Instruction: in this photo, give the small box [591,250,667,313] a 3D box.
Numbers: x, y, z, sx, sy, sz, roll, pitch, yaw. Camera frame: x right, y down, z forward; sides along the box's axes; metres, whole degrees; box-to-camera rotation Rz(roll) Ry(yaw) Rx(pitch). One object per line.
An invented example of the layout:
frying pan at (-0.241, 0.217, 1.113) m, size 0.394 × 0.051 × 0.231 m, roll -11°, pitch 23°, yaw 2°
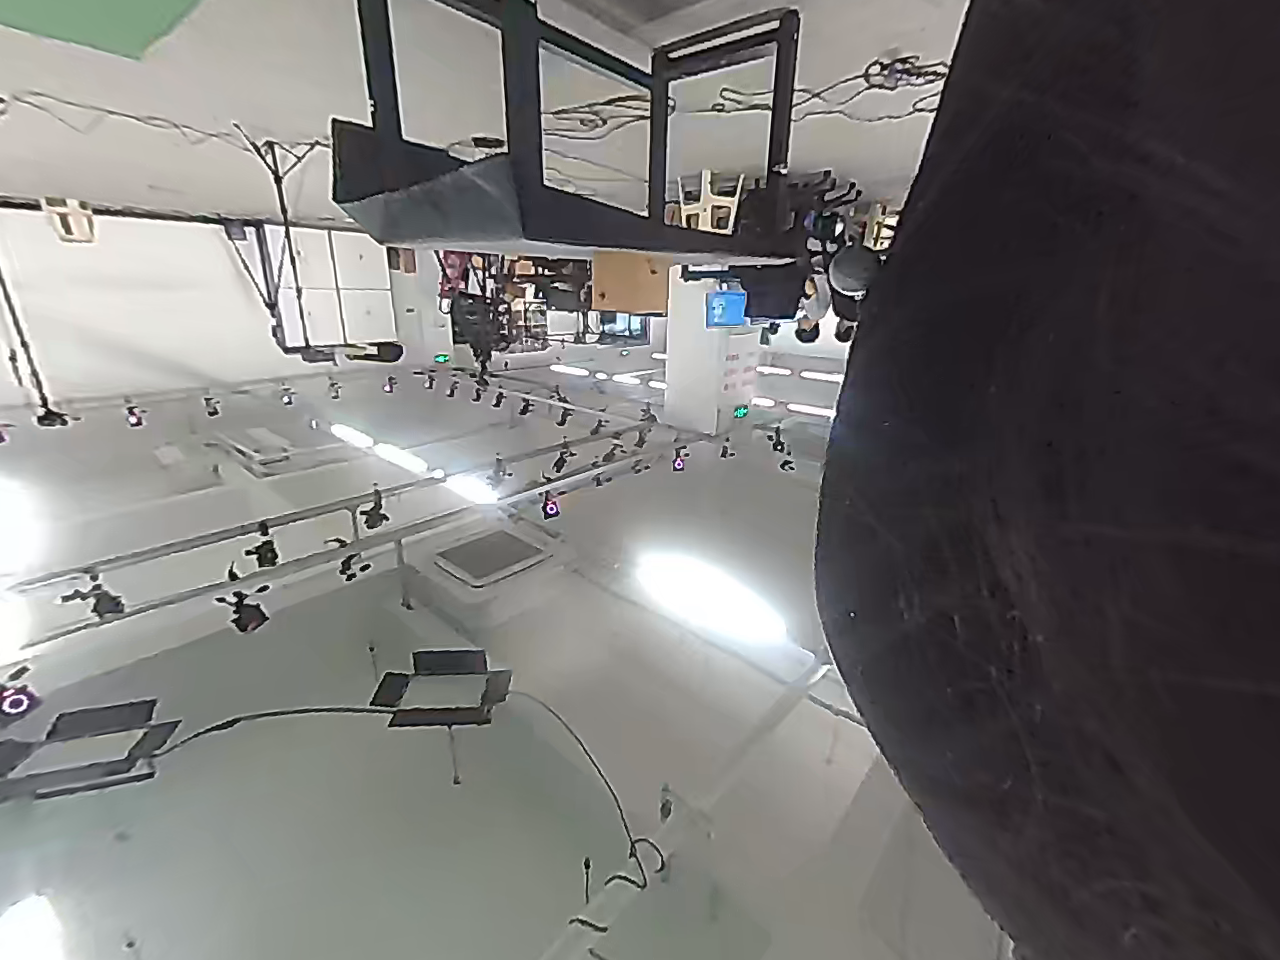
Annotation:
small box at (-0.032, -0.605, 1.653) m, size 0.179 × 0.176 × 0.168 m, roll 17°, pitch -154°, yaw 36°
